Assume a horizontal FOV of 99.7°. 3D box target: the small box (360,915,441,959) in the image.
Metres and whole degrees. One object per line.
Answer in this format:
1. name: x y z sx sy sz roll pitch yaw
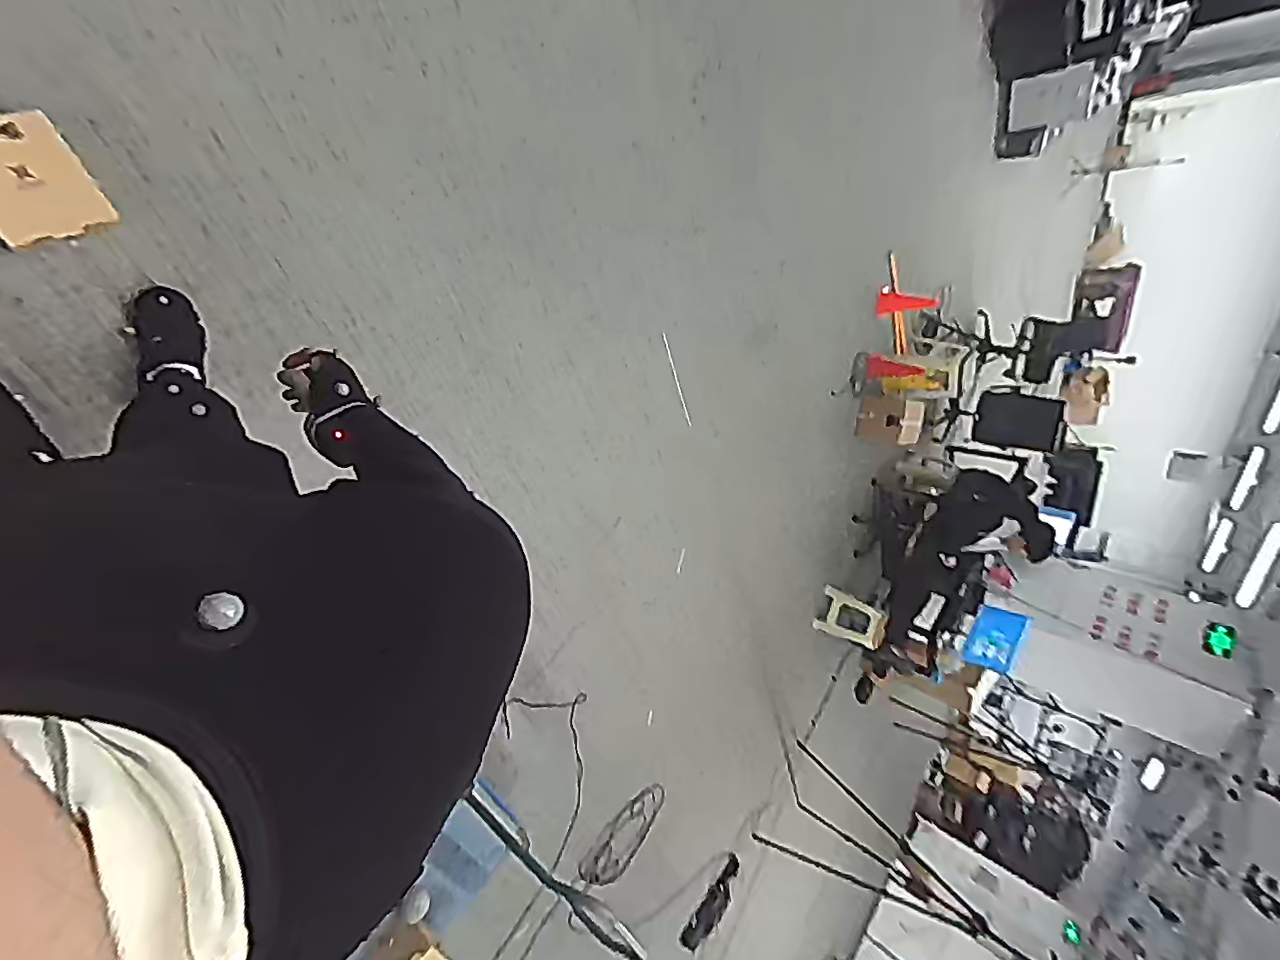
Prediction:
1. small box: -0.753 1.545 1.720 0.168 0.176 0.179 -39 128 -33

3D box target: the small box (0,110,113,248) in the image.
1. small box: -1.089 -0.521 0.951 0.168 0.176 0.179 -40 129 -32
